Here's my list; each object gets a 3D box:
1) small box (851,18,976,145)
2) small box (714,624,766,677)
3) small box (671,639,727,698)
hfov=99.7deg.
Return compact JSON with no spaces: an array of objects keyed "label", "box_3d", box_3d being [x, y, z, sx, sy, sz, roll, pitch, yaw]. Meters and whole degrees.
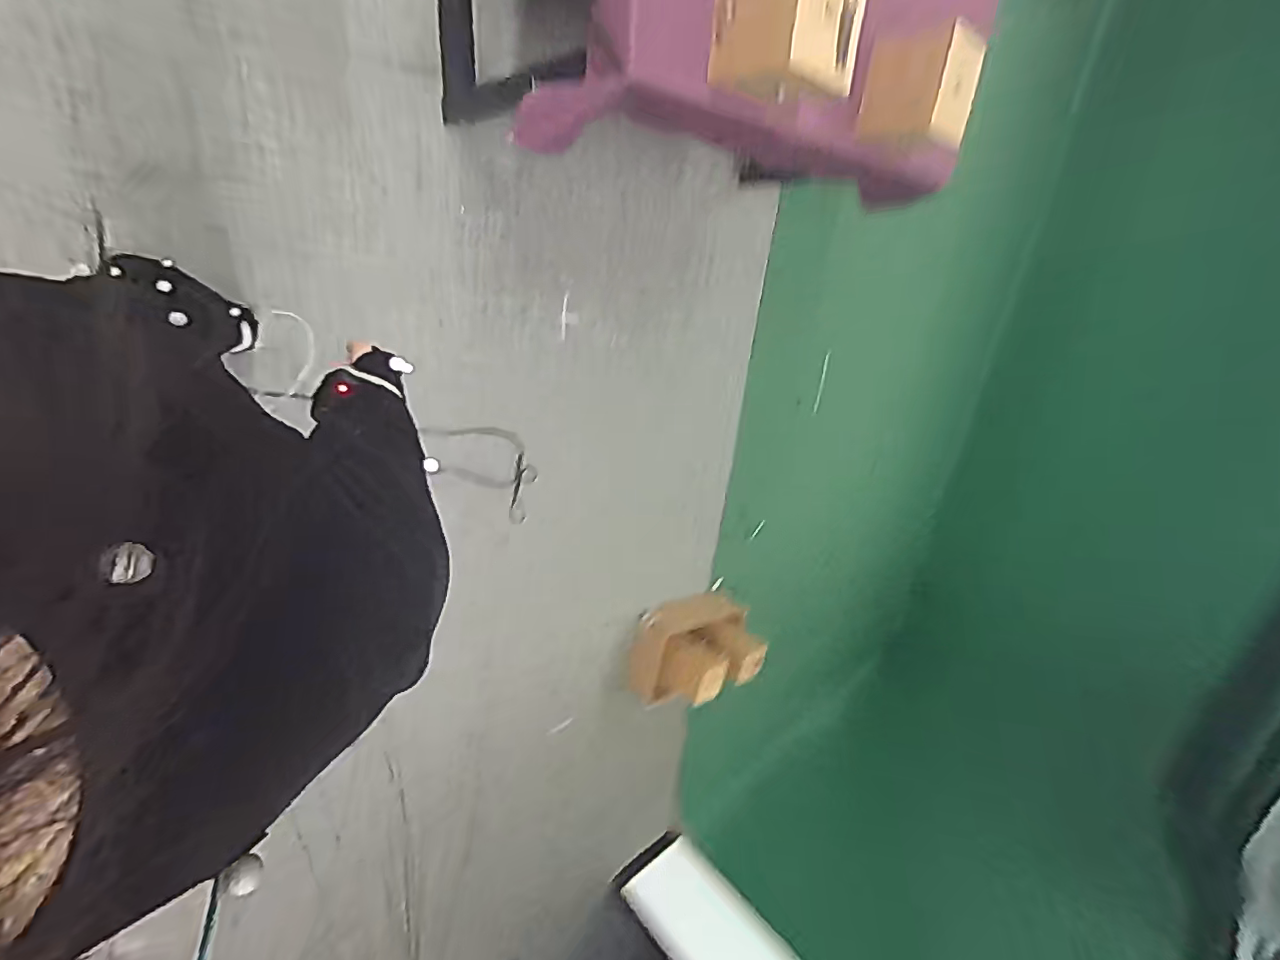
[{"label":"small box","box_3d":[0.582,-0.842,1.167,0.168,0.176,0.179,-13,118,-40]},{"label":"small box","box_3d":[0.486,0.830,2.657,0.179,0.176,0.168,-4,113,-43]},{"label":"small box","box_3d":[0.263,0.852,2.456,0.168,0.176,0.179,3,105,-46]}]
